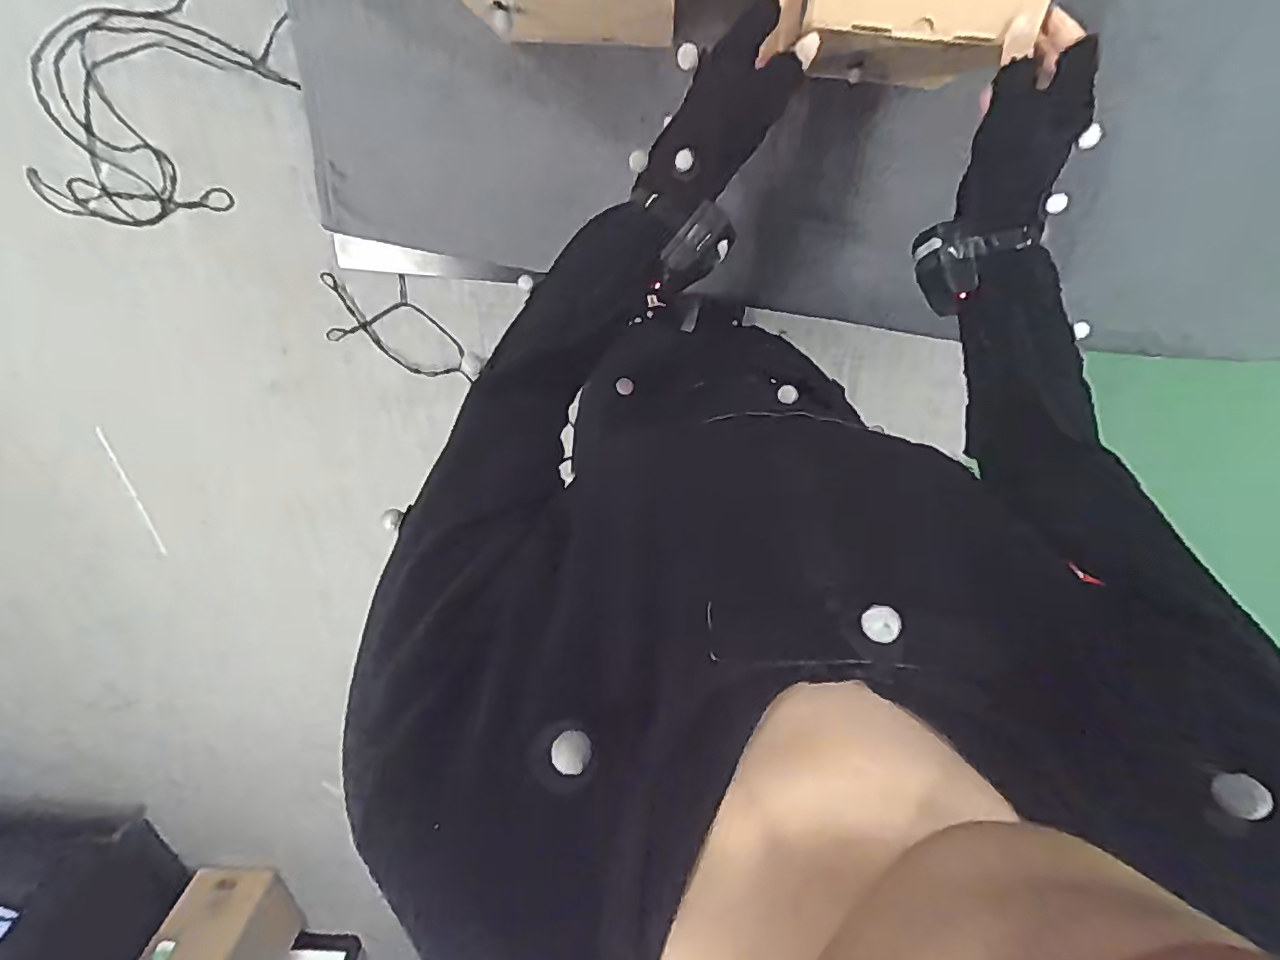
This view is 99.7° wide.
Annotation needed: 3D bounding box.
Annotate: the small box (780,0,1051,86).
[{"bbox_3d":[0.216,-0.433,0.420,0.168,0.176,0.179,6,119,1],"label":"small box"}]
